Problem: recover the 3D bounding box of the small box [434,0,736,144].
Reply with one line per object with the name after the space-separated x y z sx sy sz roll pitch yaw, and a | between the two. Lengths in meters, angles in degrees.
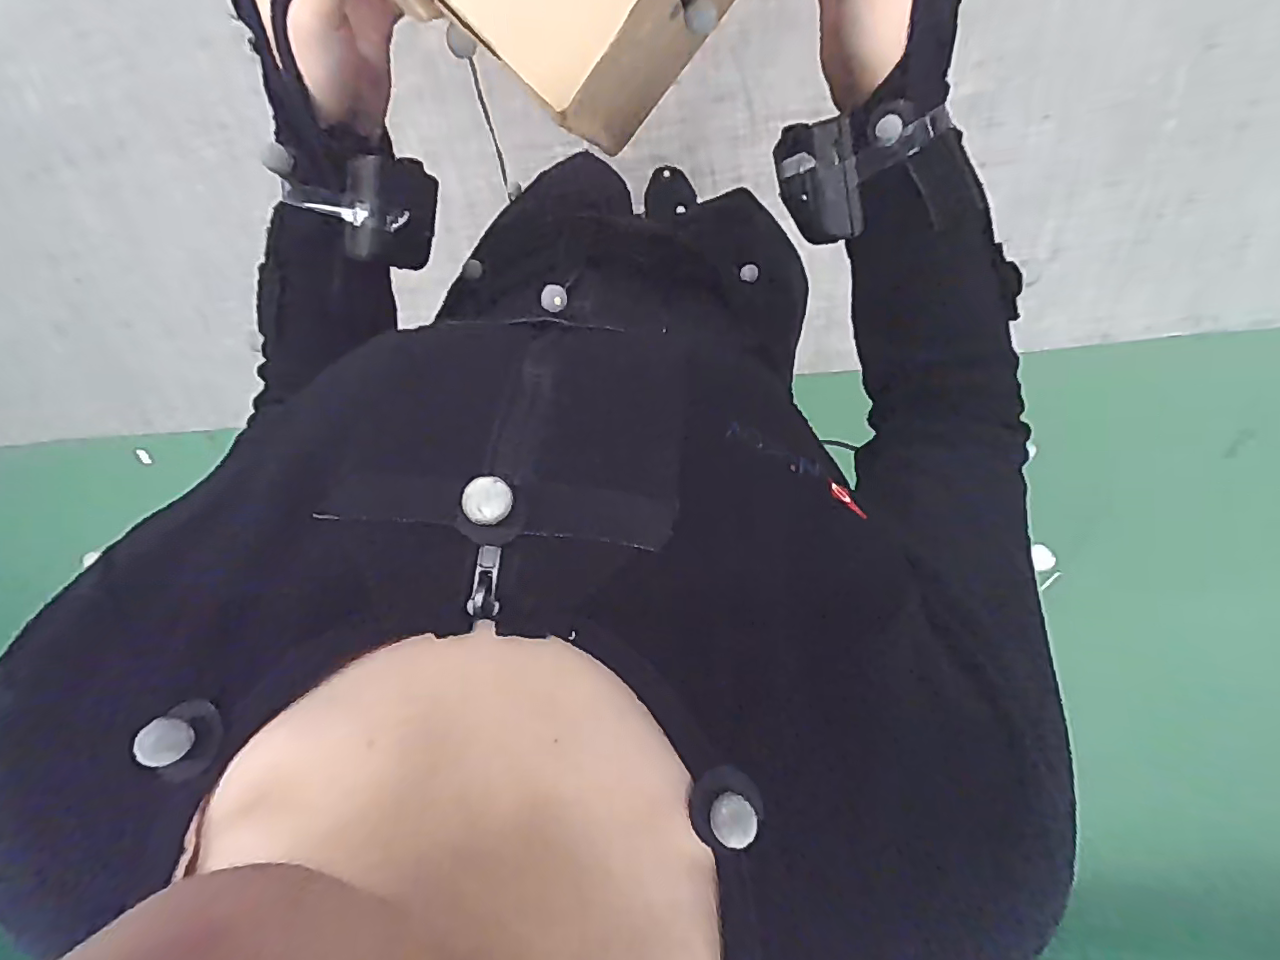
-0.025 -0.286 0.239 0.168 0.176 0.179 40 114 -14 | small box
